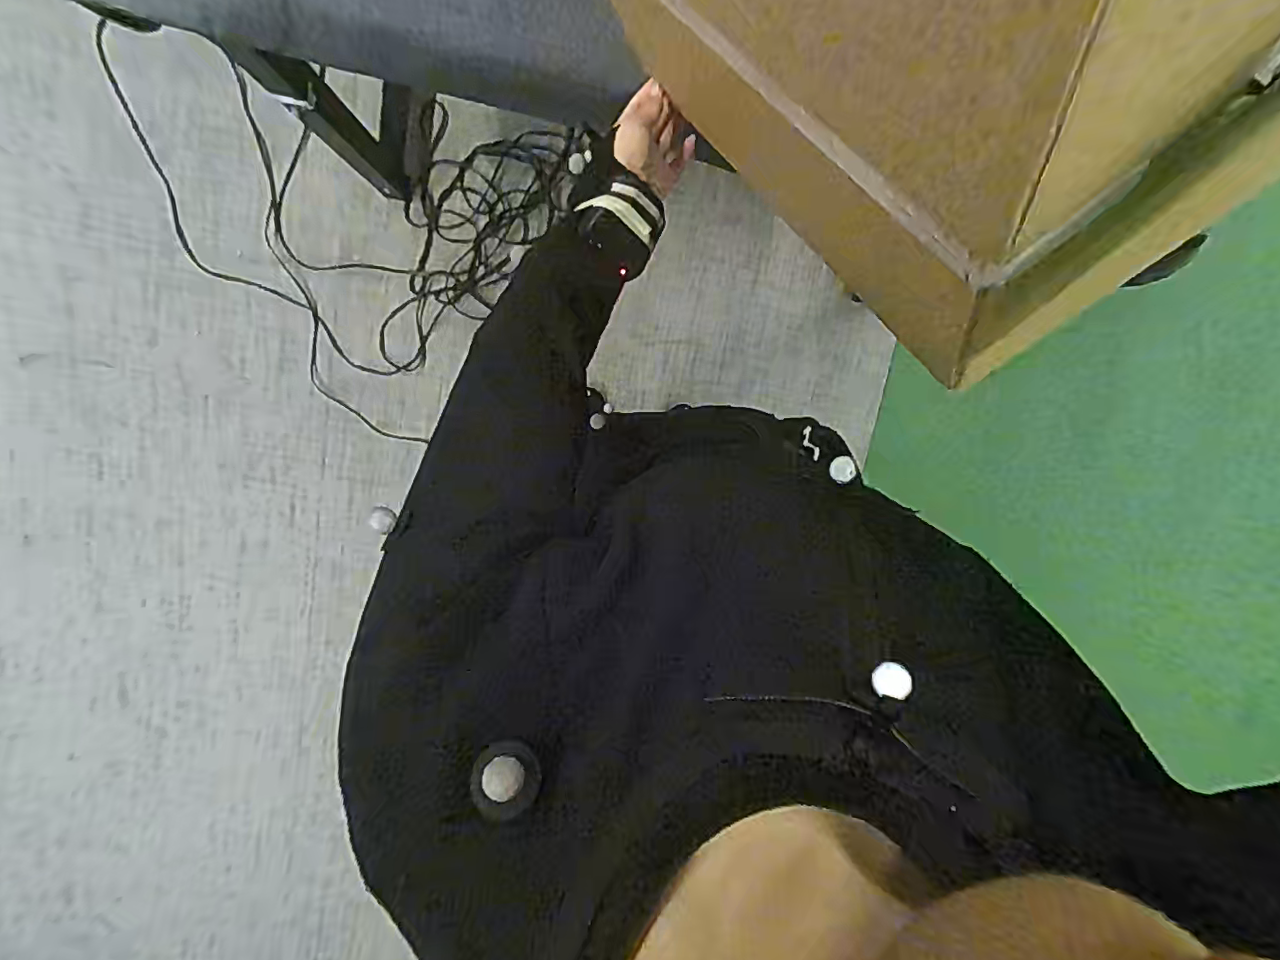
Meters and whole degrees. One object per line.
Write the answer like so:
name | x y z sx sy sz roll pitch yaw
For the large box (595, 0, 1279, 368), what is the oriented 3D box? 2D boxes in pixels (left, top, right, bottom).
large box | 0.160 -0.332 0.263 0.320 0.320 0.408 -39 68 13
